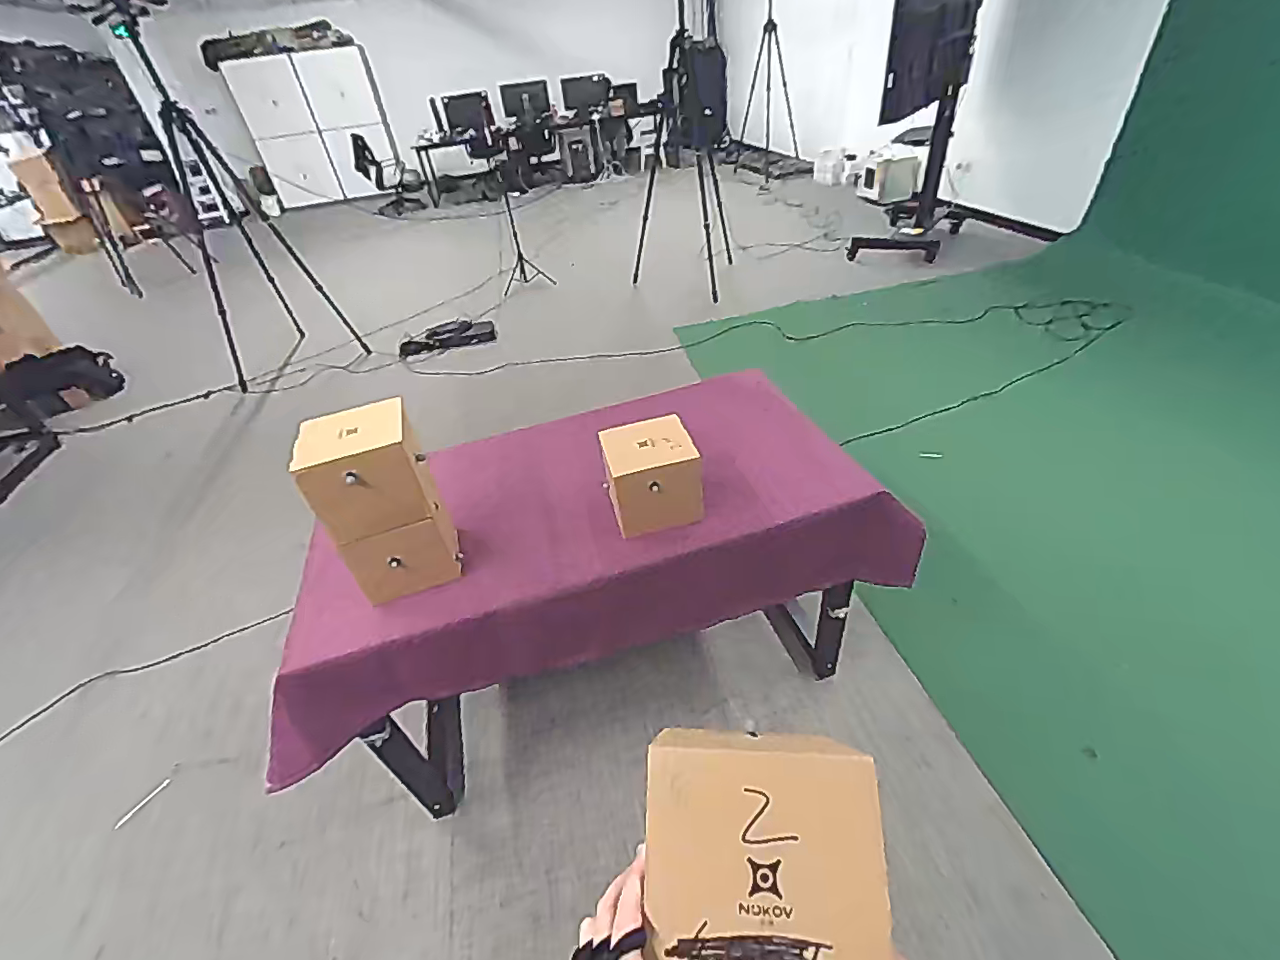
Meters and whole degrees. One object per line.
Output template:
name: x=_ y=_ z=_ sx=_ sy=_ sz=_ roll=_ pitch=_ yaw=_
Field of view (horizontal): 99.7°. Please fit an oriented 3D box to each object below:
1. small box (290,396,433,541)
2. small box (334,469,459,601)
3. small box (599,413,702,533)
small box: x=-0.479 y=-0.021 z=0.961 sx=0.179 sy=0.176 sz=0.168 roll=-18 pitch=40 yaw=-11
small box: x=-0.465 y=0.106 z=1.062 sx=0.179 sy=0.176 sz=0.168 roll=-18 pitch=40 yaw=-10
small box: x=0.024 y=-0.013 z=1.122 sx=0.179 sy=0.176 sz=0.168 roll=-13 pitch=40 yaw=-6
